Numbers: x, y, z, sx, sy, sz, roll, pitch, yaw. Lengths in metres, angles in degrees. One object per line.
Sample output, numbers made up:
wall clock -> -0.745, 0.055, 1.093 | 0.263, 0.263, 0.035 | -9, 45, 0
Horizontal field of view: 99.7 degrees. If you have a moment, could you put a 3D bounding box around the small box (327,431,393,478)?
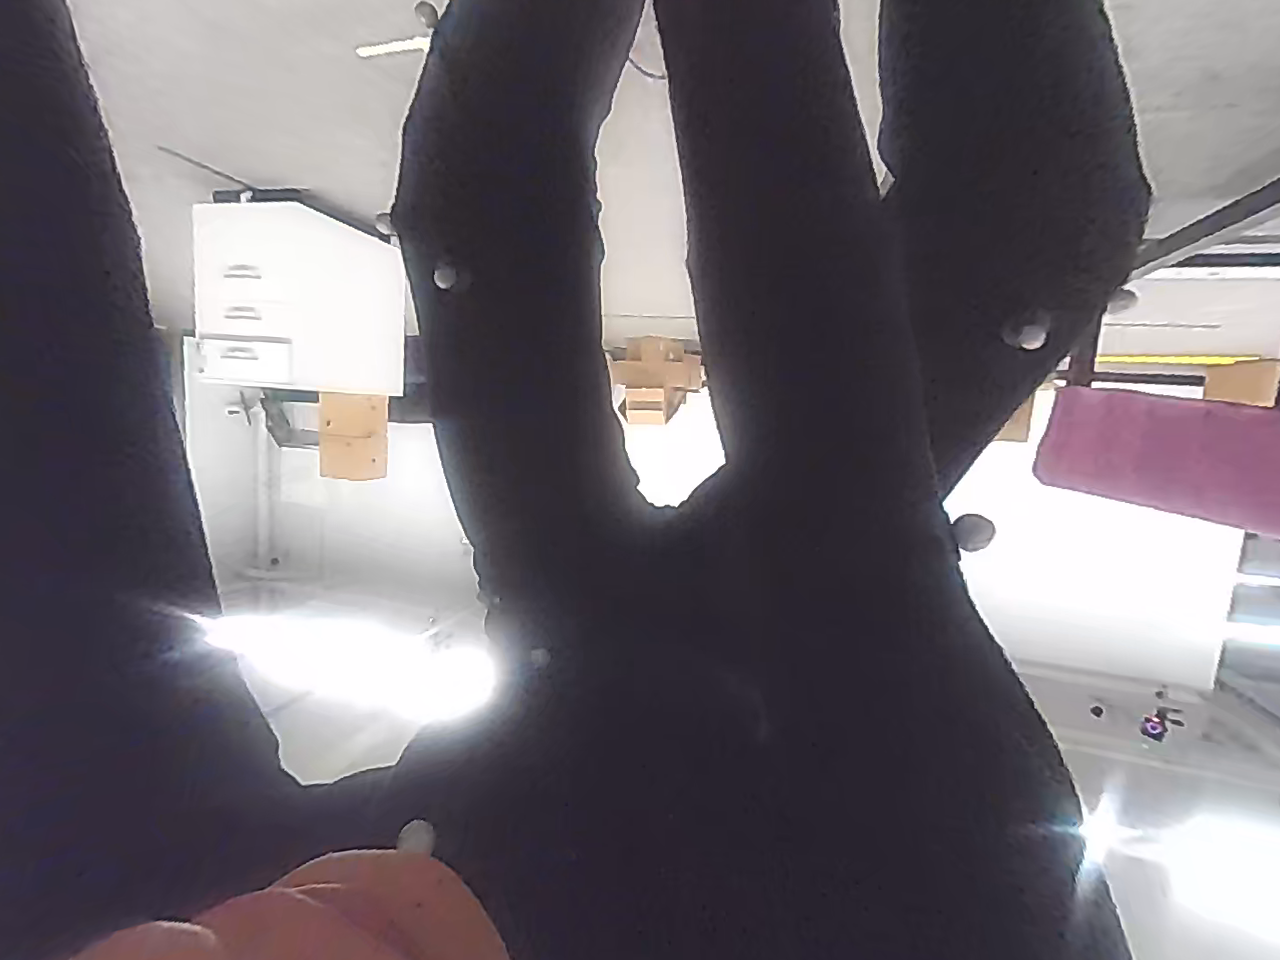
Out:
small box -> -1.100, -0.108, 2.129 | 0.168, 0.176, 0.179 | 7, -172, 14

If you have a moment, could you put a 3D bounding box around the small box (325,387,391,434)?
small box -> -1.092, -0.271, 2.107 | 0.179, 0.176, 0.168 | 7, -172, 15
